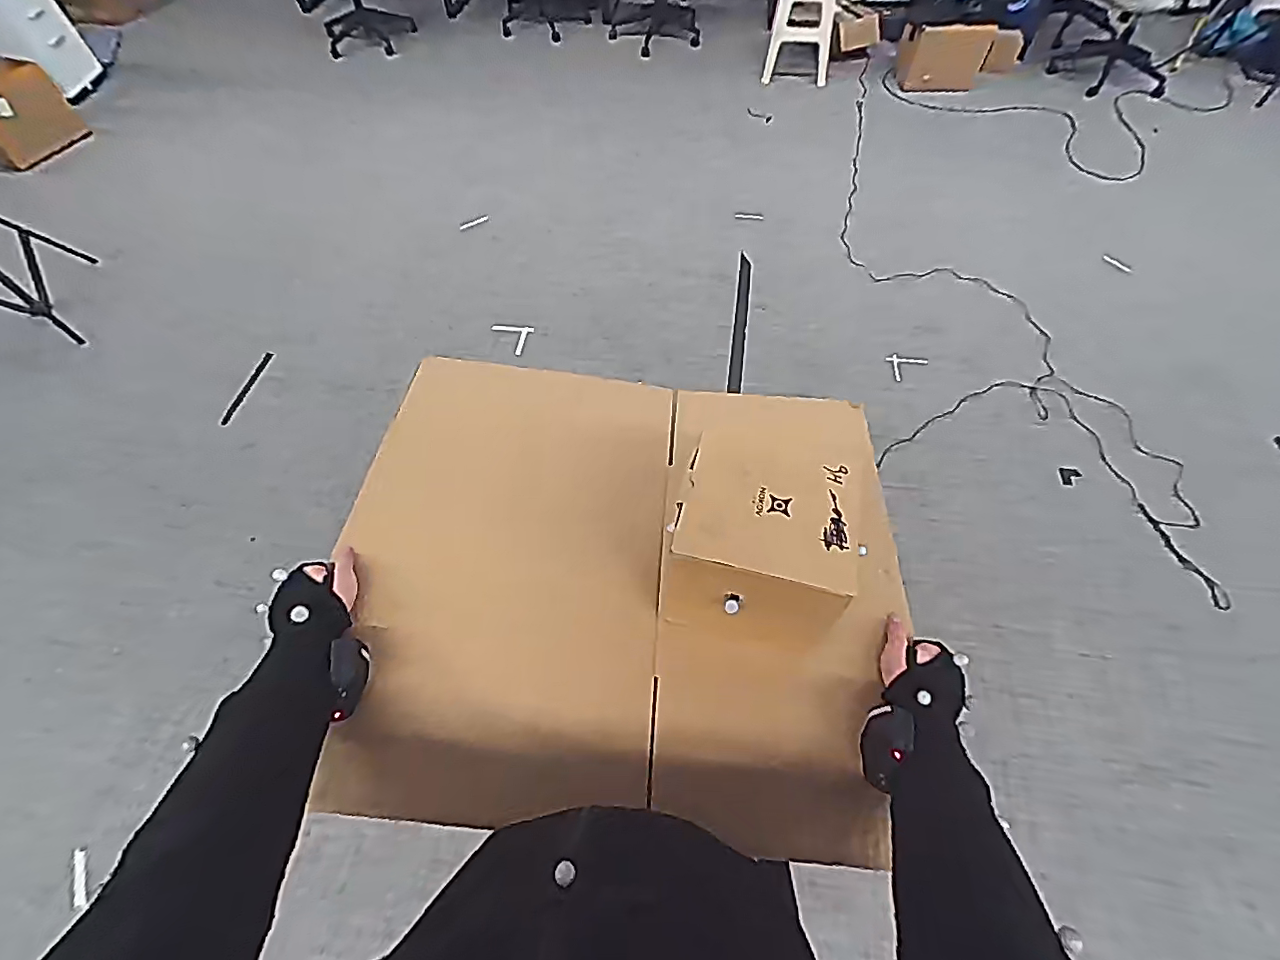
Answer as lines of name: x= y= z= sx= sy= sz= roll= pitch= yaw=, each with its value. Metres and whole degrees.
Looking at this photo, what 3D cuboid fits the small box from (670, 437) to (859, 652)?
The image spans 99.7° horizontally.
small box: x=0.135 y=0.077 z=0.619 sx=0.179 sy=0.176 sz=0.168 roll=12 pitch=55 yaw=10
